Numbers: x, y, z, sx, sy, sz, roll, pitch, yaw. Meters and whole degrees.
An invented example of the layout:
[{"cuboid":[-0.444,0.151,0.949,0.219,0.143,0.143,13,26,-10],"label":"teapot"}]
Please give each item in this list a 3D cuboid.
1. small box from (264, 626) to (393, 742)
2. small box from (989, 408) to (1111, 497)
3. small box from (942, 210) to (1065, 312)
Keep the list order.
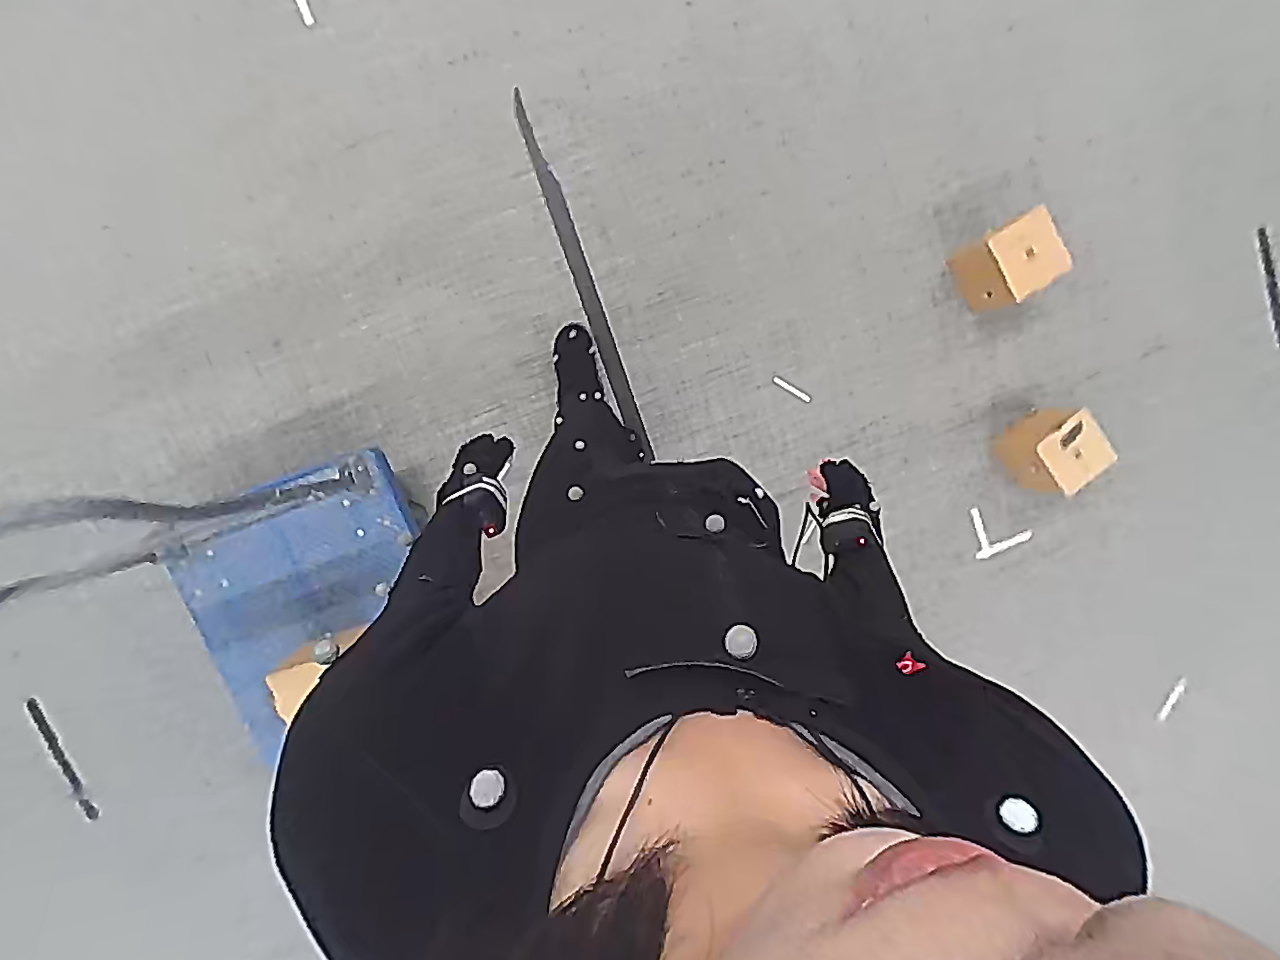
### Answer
[{"cuboid":[-0.720,0.470,1.268,0.179,0.176,0.168,-19,99,0],"label":"small box"},{"cuboid":[1.116,-0.079,1.489,0.168,0.176,0.179,-39,99,3],"label":"small box"},{"cuboid":[0.939,-0.559,1.413,0.168,0.176,0.179,-34,97,1],"label":"small box"}]
